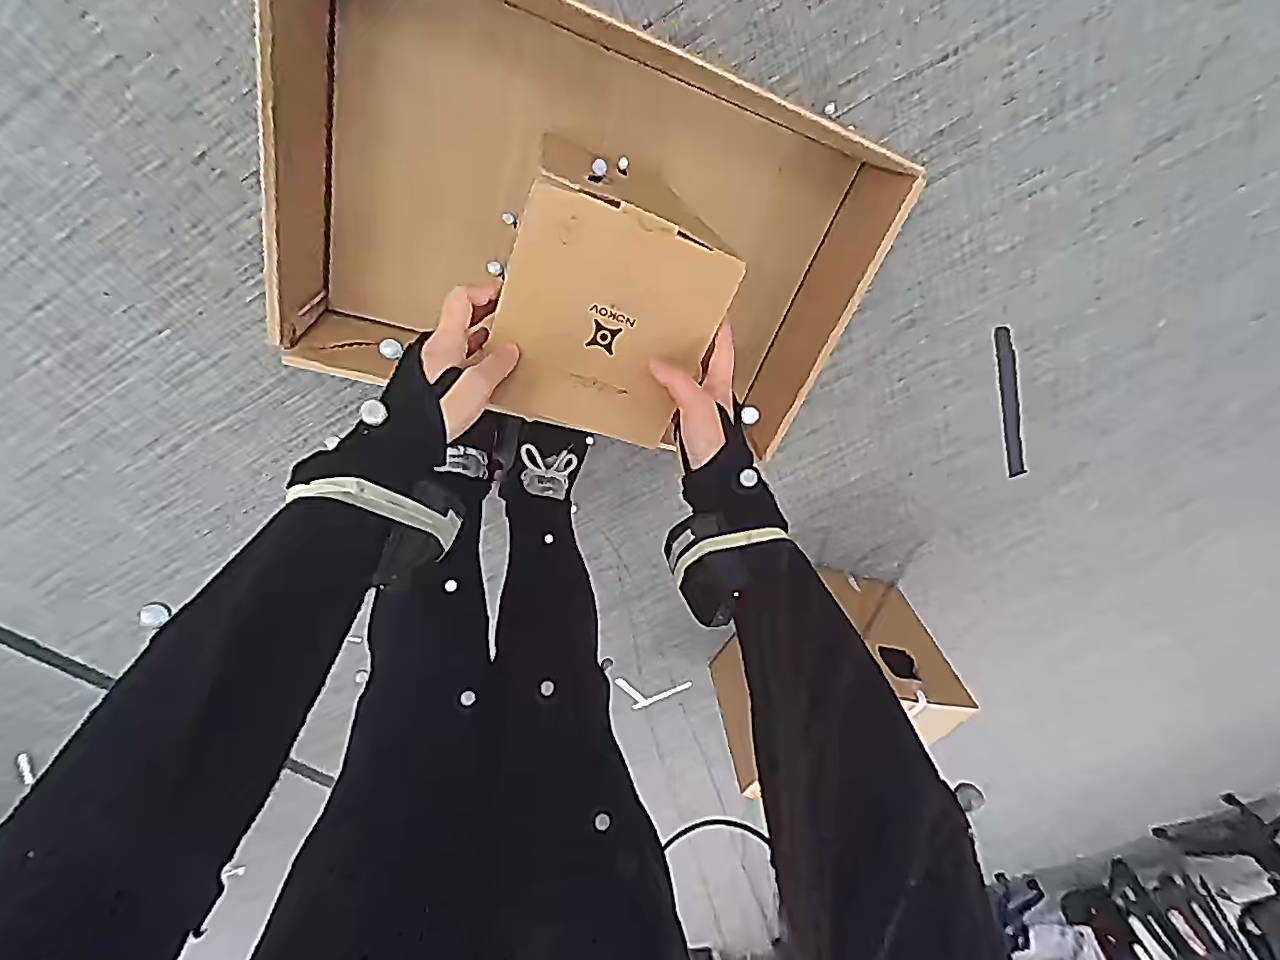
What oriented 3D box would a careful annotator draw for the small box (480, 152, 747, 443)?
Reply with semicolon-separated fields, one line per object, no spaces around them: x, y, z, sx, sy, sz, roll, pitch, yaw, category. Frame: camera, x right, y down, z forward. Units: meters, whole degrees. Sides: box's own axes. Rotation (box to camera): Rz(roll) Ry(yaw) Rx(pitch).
-0.035;-0.166;0.486;0.168;0.176;0.179;15;123;-18;small box

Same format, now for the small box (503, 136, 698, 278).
-0.058;-0.263;0.614;0.168;0.176;0.179;15;123;-18;small box
